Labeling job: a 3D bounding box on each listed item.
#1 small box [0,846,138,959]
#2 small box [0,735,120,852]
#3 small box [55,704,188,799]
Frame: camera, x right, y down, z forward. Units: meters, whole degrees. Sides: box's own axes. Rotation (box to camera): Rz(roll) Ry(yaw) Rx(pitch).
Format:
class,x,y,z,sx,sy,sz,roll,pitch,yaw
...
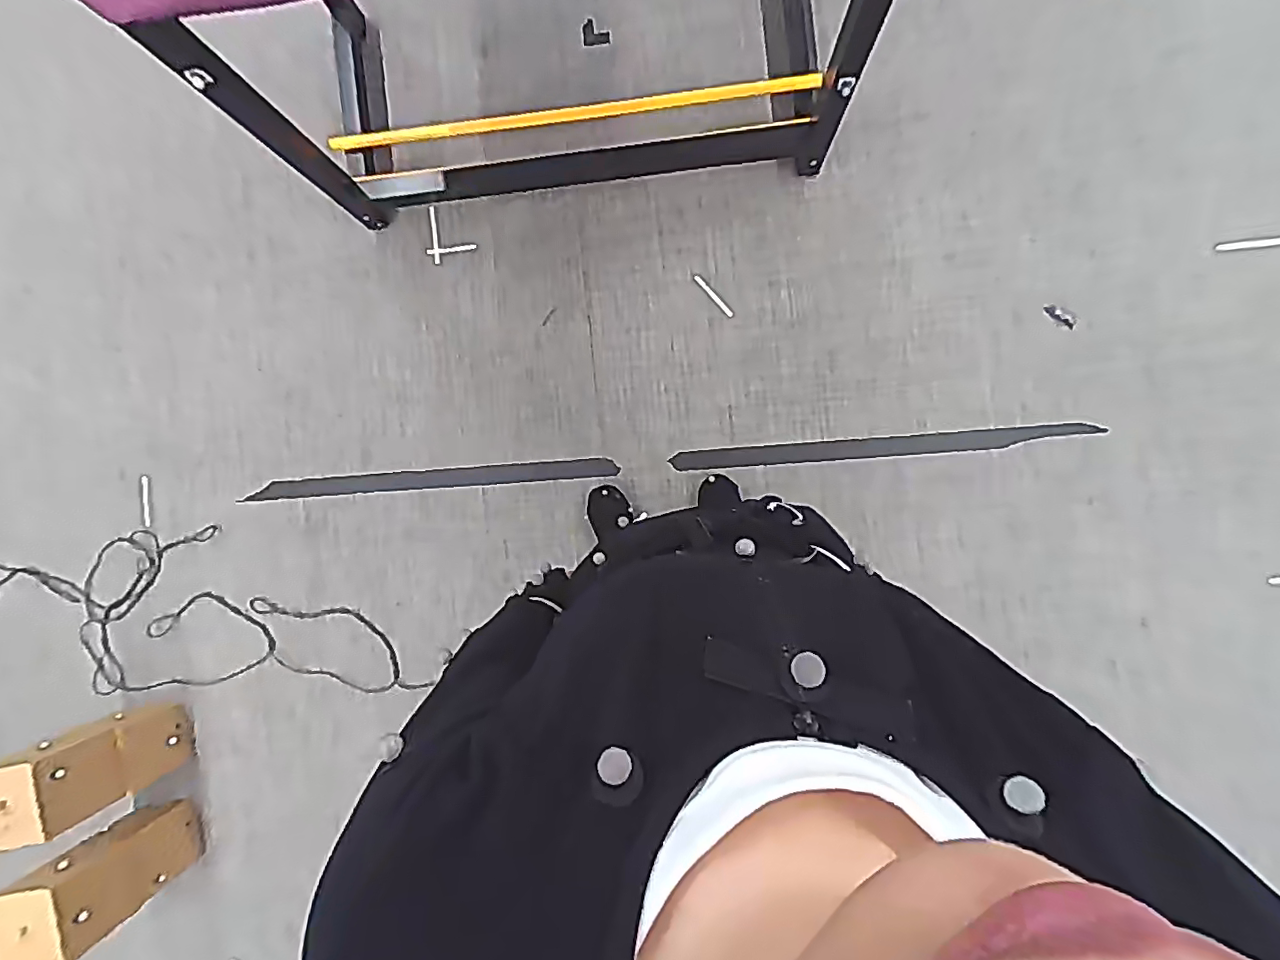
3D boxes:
class,x,y,z,sx,sy,sz,roll,pitch,yaw
small box,-1.300,0.965,1.223,0.168,0.176,0.179,-13,89,4
small box,-1.343,0.699,1.222,0.168,0.176,0.179,-11,90,4
small box,-1.322,0.696,1.386,0.179,0.176,0.168,-9,90,3
